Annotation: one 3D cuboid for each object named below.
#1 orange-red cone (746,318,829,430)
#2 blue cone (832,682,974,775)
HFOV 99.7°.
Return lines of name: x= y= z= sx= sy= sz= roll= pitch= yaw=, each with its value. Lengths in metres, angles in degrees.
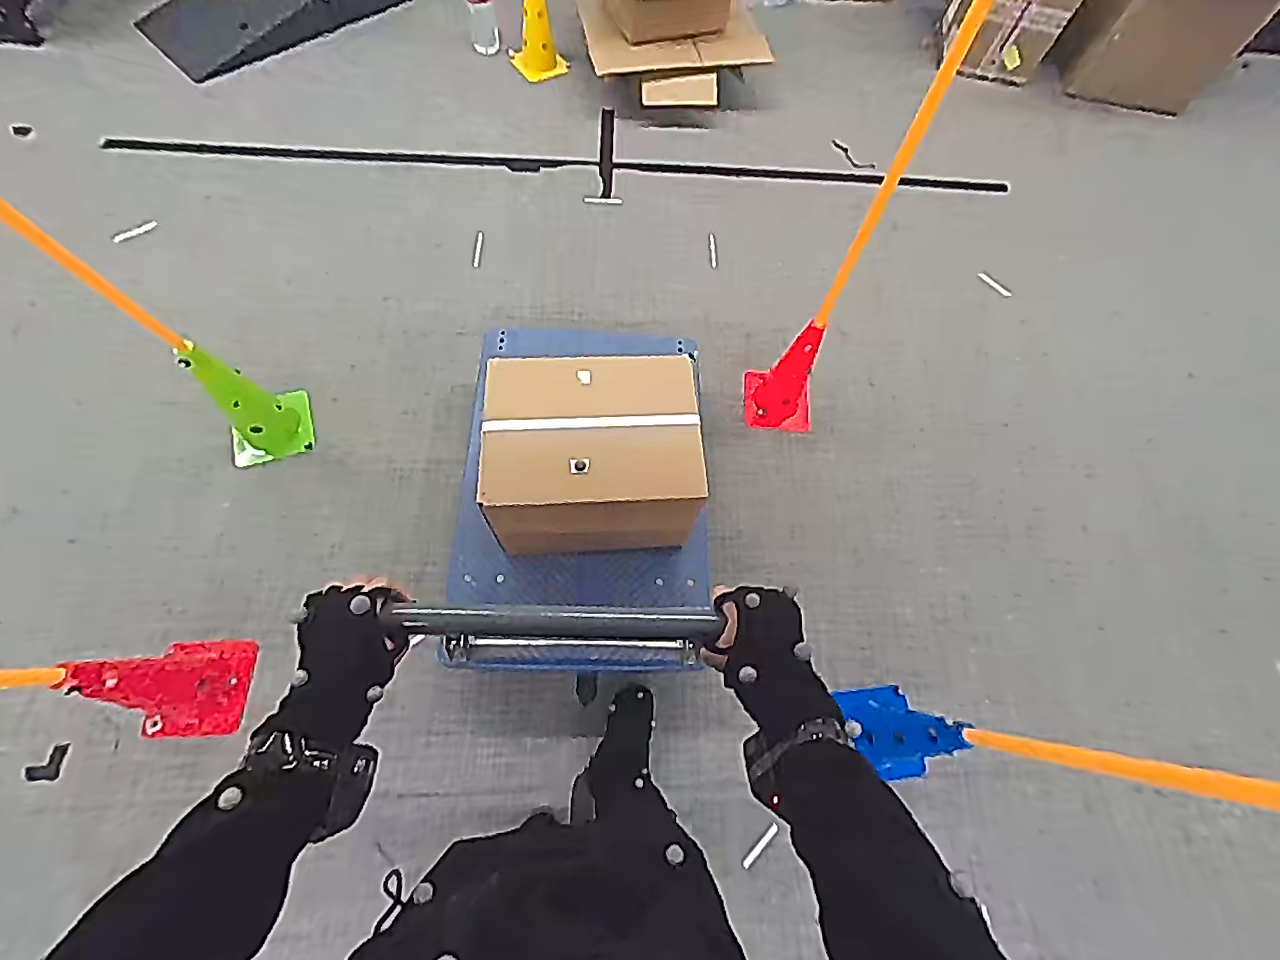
orange-red cone: x=0.435 y=-0.313 z=1.484 sx=0.199 sy=0.360 sz=0.198 roll=7 pitch=66 yaw=-2
blue cone: x=0.575 y=0.517 z=1.136 sx=0.193 sy=0.380 sz=0.192 roll=-3 pitch=65 yaw=-6
